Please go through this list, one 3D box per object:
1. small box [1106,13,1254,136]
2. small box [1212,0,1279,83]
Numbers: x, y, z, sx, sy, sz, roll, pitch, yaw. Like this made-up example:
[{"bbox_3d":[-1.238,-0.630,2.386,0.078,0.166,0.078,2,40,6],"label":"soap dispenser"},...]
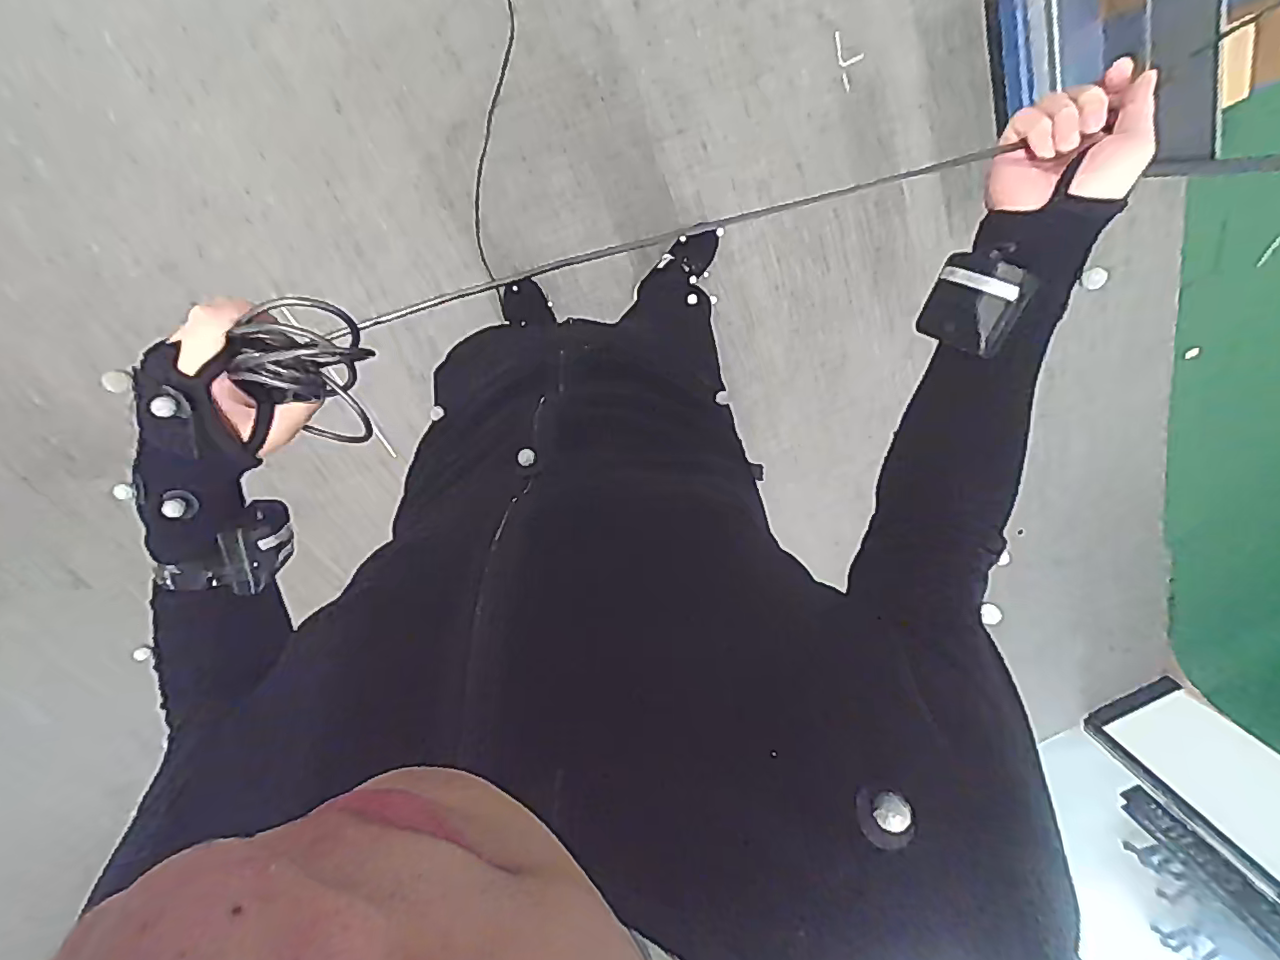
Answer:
[{"bbox_3d":[1.254,-0.939,1.268,0.179,0.176,0.168,-25,117,2],"label":"small box"},{"bbox_3d":[1.496,-1.058,1.260,0.179,0.176,0.168,-29,116,4],"label":"small box"}]
